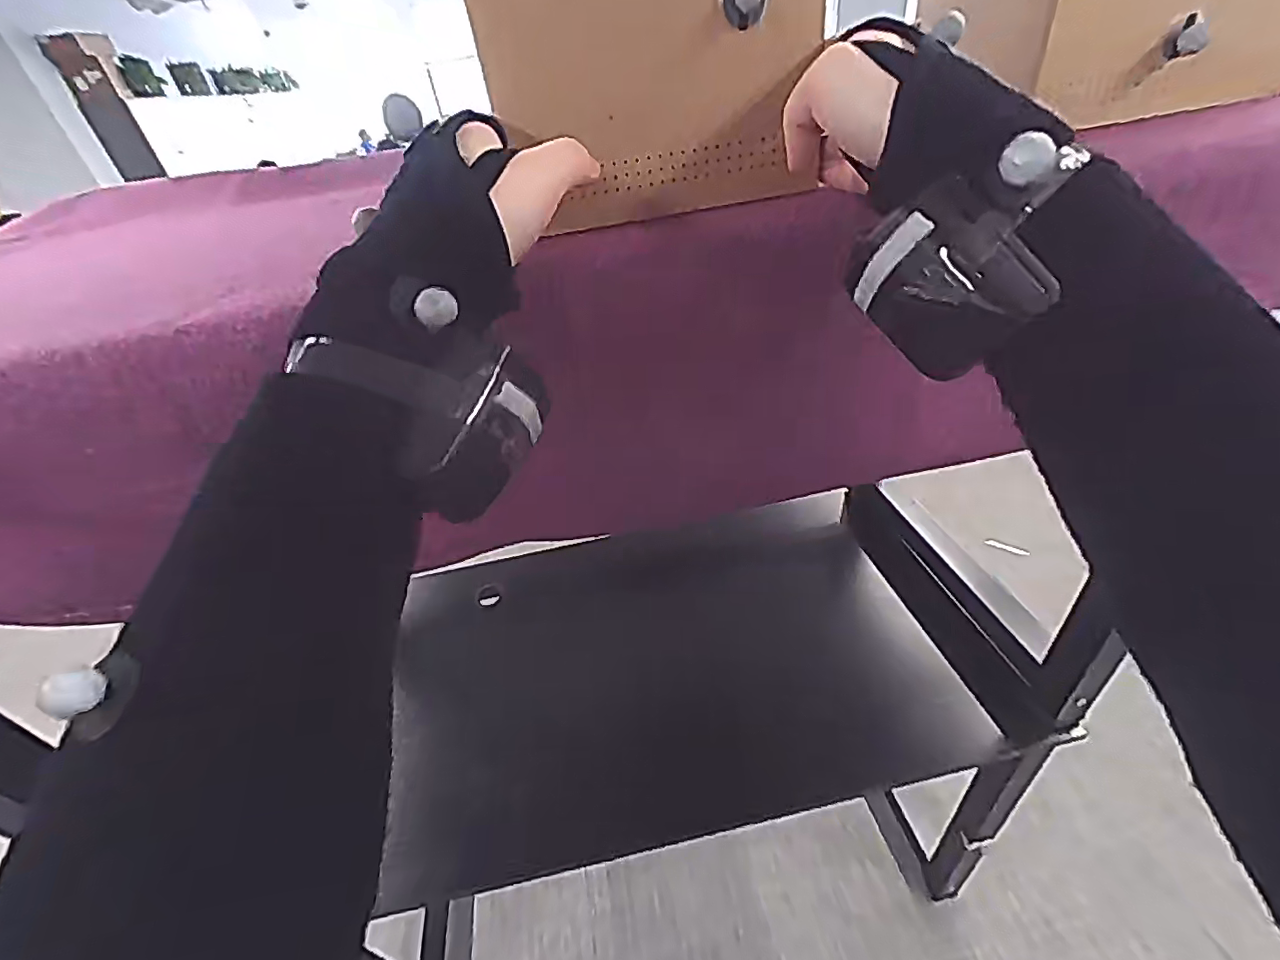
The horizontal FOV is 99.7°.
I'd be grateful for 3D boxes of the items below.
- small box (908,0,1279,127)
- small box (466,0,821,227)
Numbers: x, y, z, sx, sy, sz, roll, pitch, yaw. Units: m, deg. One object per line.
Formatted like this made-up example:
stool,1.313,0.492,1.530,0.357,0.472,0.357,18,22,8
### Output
small box,0.310,-0.352,0.360,0.179,0.176,0.168,-9,36,1
small box,-0.002,-0.267,0.323,0.179,0.176,0.168,-11,36,-2
